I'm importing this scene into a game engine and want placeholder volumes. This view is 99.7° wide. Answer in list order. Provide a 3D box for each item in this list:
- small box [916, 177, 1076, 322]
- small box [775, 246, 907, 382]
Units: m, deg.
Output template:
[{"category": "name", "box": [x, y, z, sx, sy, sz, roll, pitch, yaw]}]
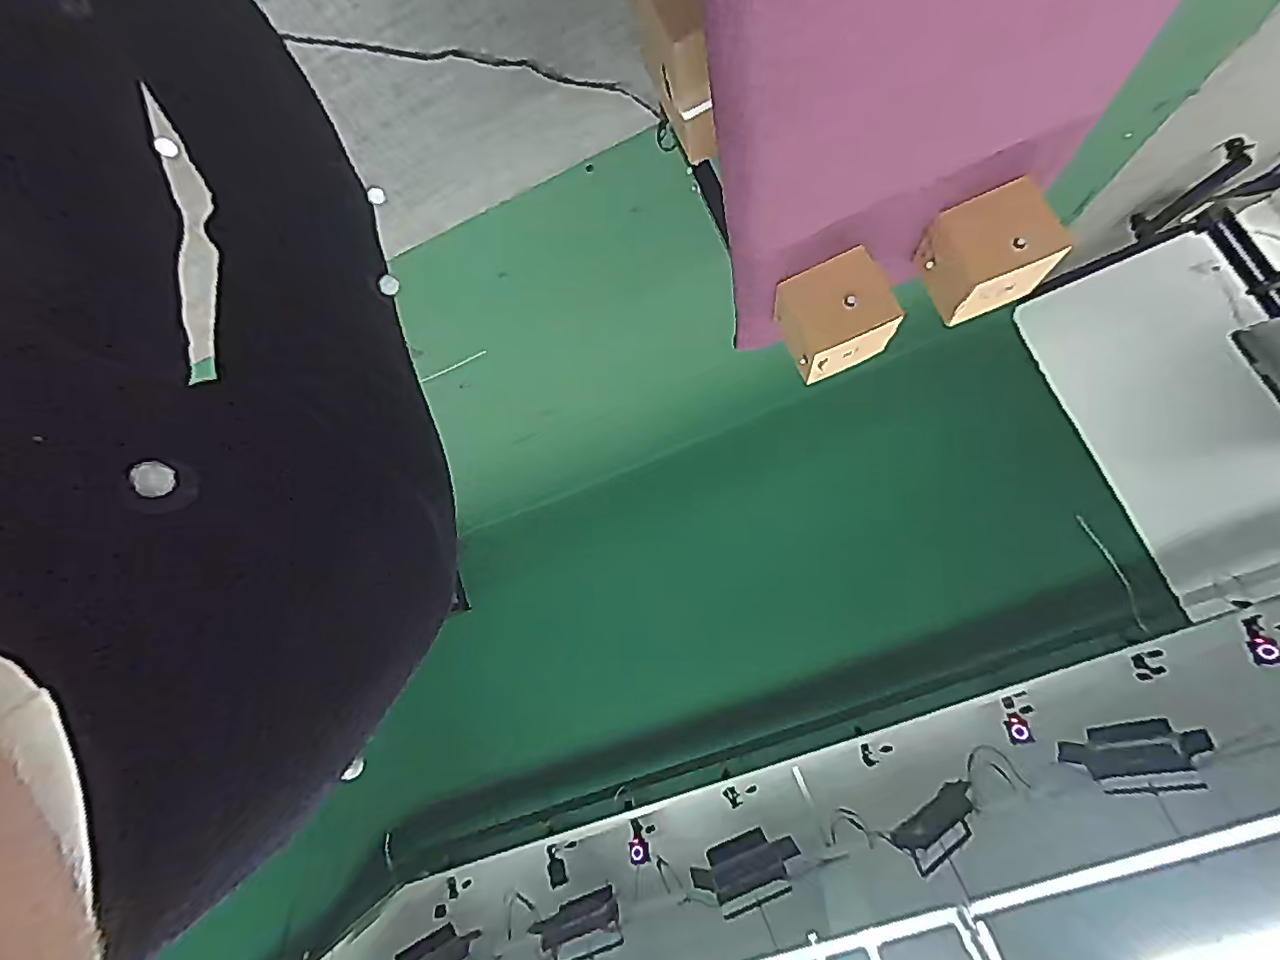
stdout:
[{"category": "small box", "box": [0.685, -0.450, 1.064, 0.179, 0.176, 0.168, -21, 165, 7]}, {"category": "small box", "box": [0.394, -0.332, 1.091, 0.179, 0.176, 0.168, -25, 165, 6]}]
